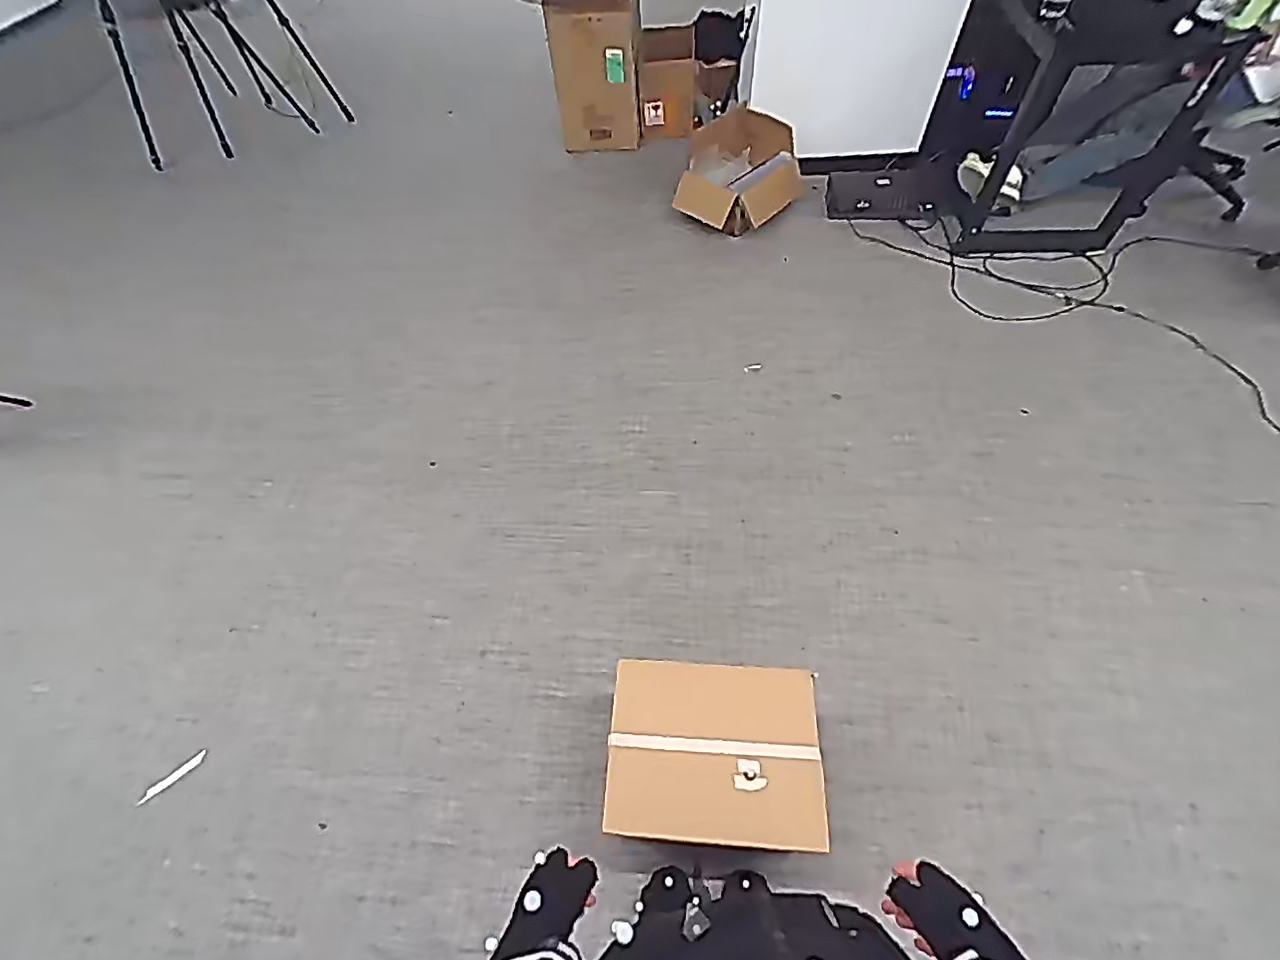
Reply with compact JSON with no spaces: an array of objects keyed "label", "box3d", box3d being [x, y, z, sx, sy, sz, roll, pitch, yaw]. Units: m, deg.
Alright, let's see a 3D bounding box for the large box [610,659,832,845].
[{"label":"large box","box3d":[0.155,0.591,1.168,0.408,0.320,0.320,2,57,4]}]
